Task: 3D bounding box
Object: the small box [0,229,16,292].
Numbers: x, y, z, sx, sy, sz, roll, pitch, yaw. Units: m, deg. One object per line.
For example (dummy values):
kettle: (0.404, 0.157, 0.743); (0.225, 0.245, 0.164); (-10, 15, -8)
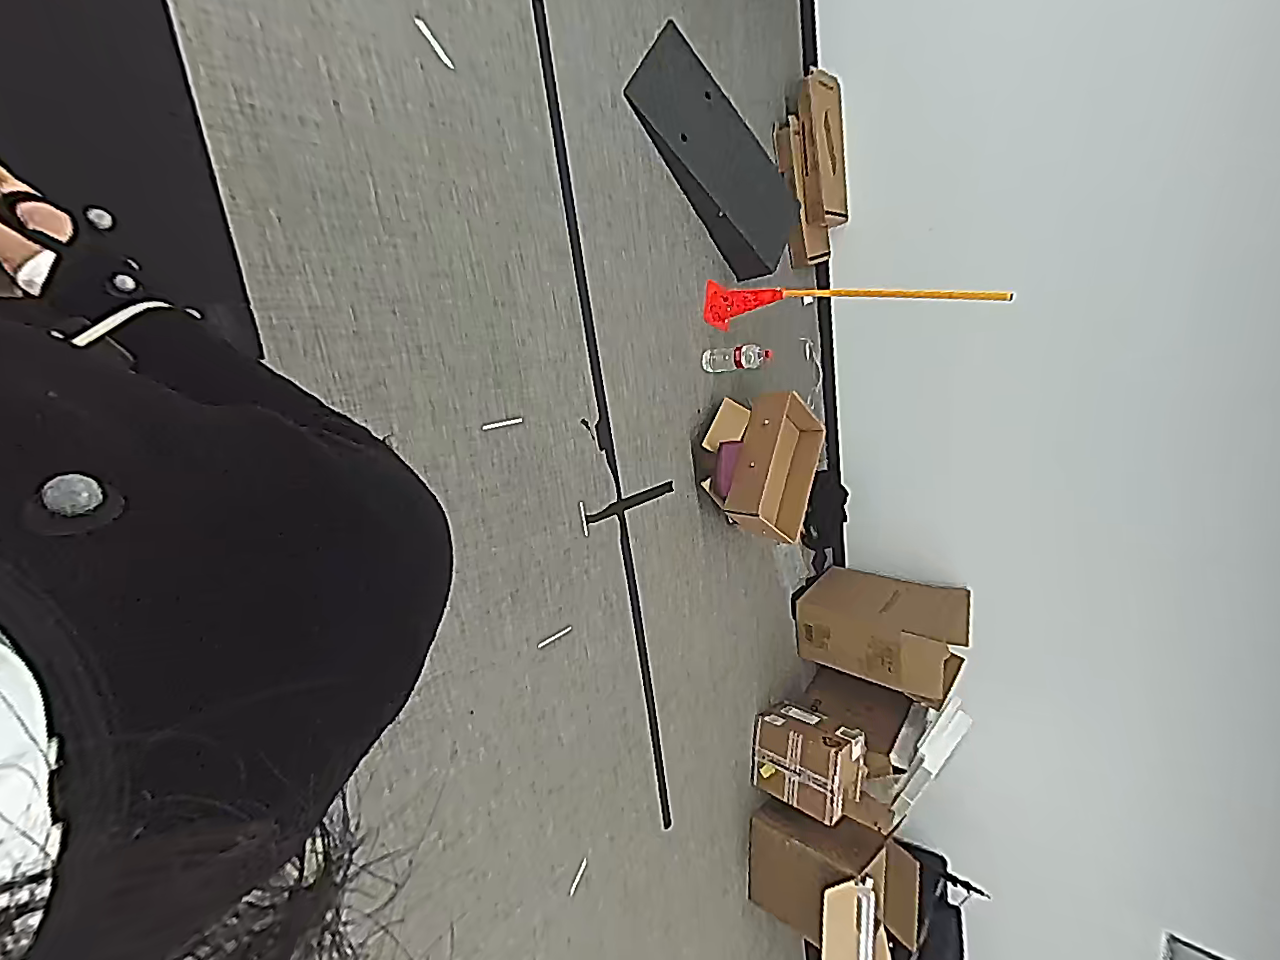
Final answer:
small box: (-0.615, -0.233, 0.396); (0.179, 0.176, 0.168); (-19, 107, -45)
